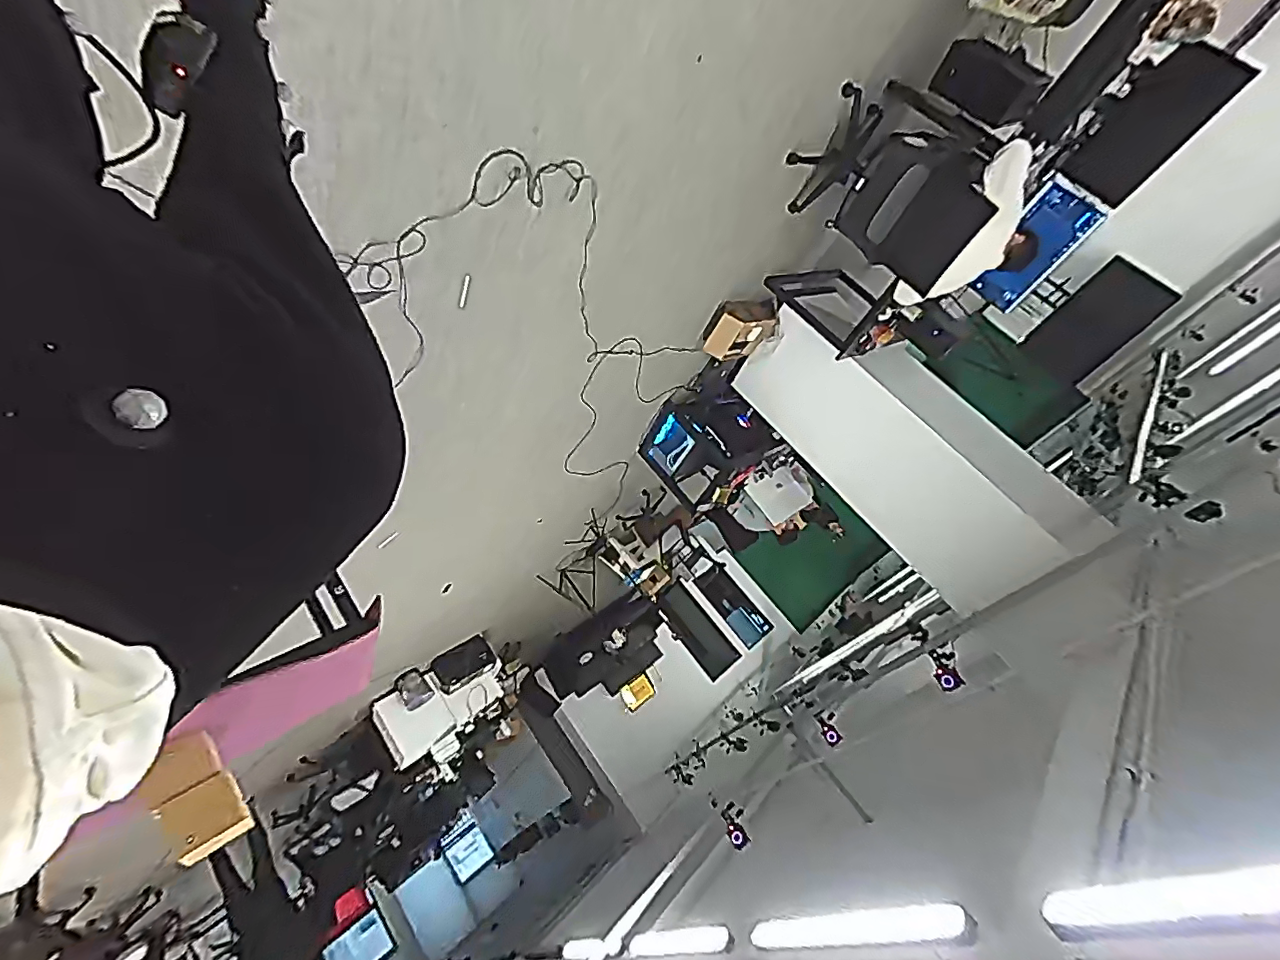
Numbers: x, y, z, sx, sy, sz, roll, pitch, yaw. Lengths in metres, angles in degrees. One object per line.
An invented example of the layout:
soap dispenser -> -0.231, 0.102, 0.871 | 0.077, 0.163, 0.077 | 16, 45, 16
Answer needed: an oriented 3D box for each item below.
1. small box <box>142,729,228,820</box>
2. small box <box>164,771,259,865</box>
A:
small box -> -1.427, 0.925, 1.704 | 0.179, 0.176, 0.168 | -24, 157, -39
small box -> -1.310, 1.033, 1.660 | 0.179, 0.176, 0.168 | -24, 157, -39
